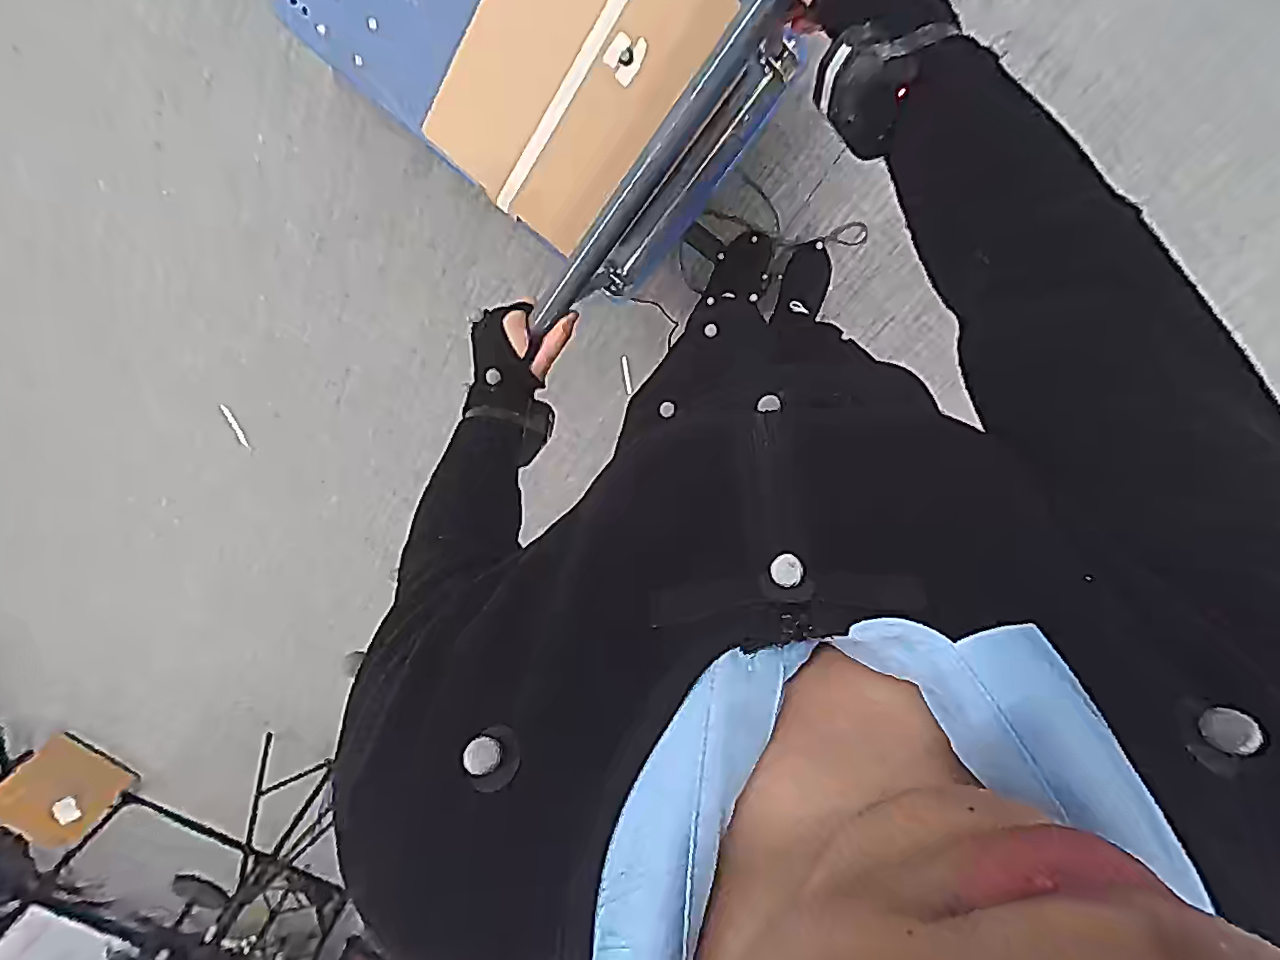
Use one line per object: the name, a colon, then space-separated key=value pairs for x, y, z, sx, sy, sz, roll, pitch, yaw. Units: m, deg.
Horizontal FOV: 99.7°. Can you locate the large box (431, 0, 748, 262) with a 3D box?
large box: x=-0.069 y=-0.644 z=0.908 sx=0.320 sy=0.320 sz=0.408 roll=38 pitch=117 yaw=-12
